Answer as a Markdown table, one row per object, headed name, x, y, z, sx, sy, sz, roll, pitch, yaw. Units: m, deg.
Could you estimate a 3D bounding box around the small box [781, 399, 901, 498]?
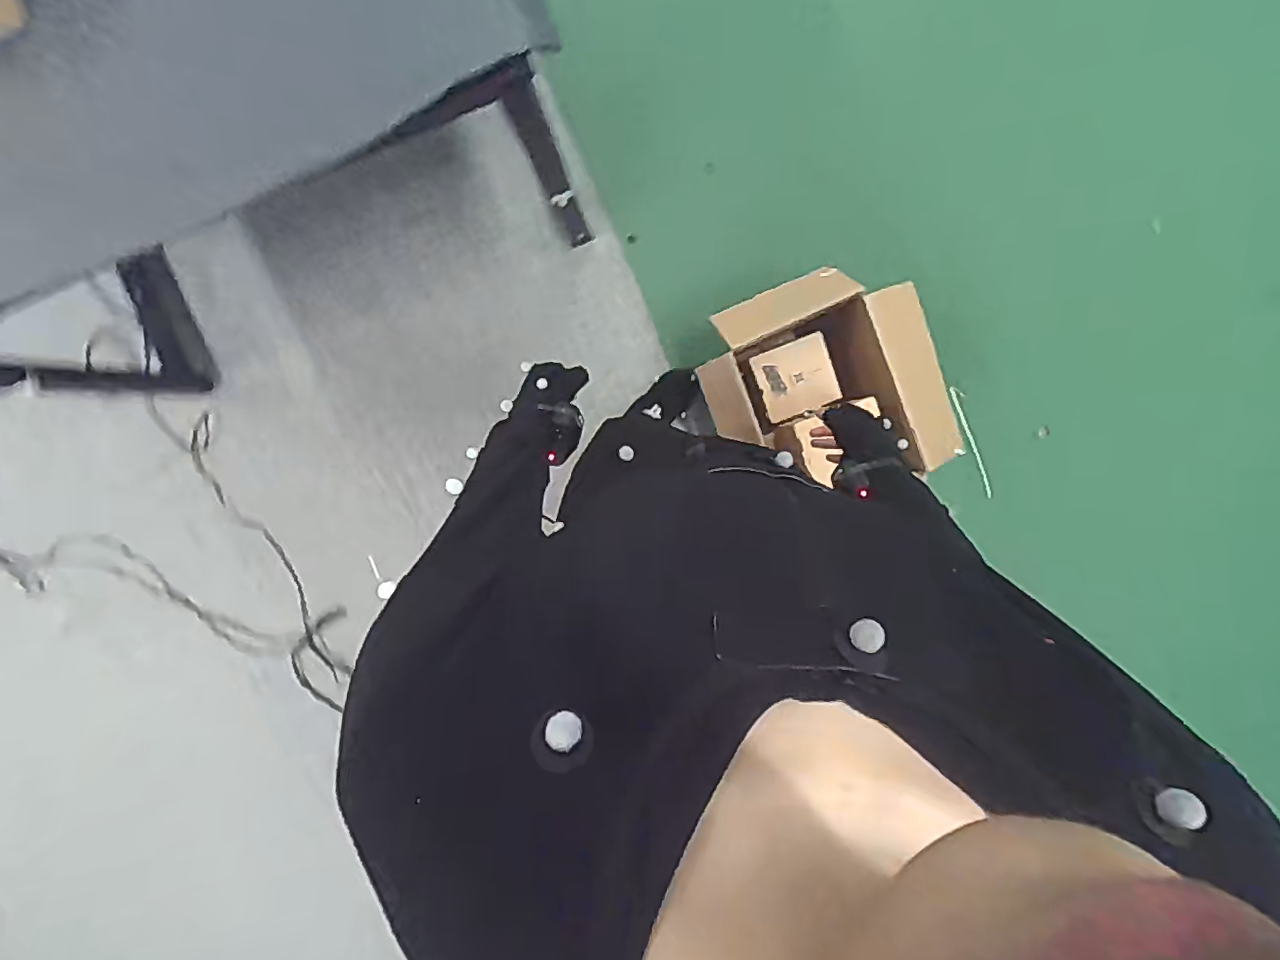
| name | x | y | z | sx | sy | sz | roll | pitch | yaw |
| --- | --- | --- | --- | --- | --- | --- | --- | --- | --- |
| small box | 0.431 | -0.070 | 1.185 | 0.179 | 0.176 | 0.168 | -19 | 93 | 3 |
